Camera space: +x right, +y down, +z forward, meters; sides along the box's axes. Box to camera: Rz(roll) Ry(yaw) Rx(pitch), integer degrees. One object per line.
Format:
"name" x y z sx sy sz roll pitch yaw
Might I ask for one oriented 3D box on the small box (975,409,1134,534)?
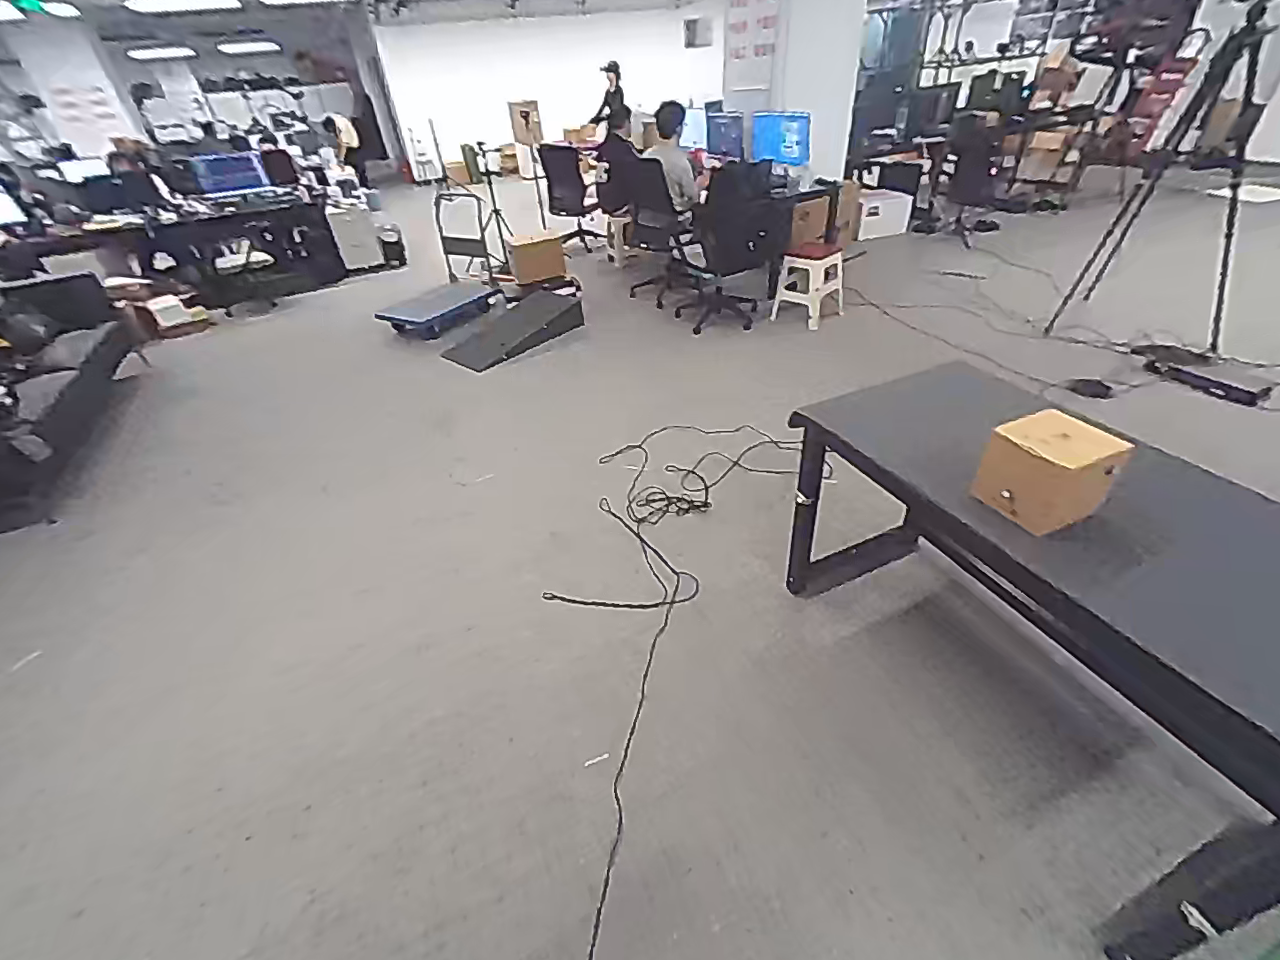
"small box" 0.829 -0.018 1.102 0.179 0.176 0.168 -17 38 -15
